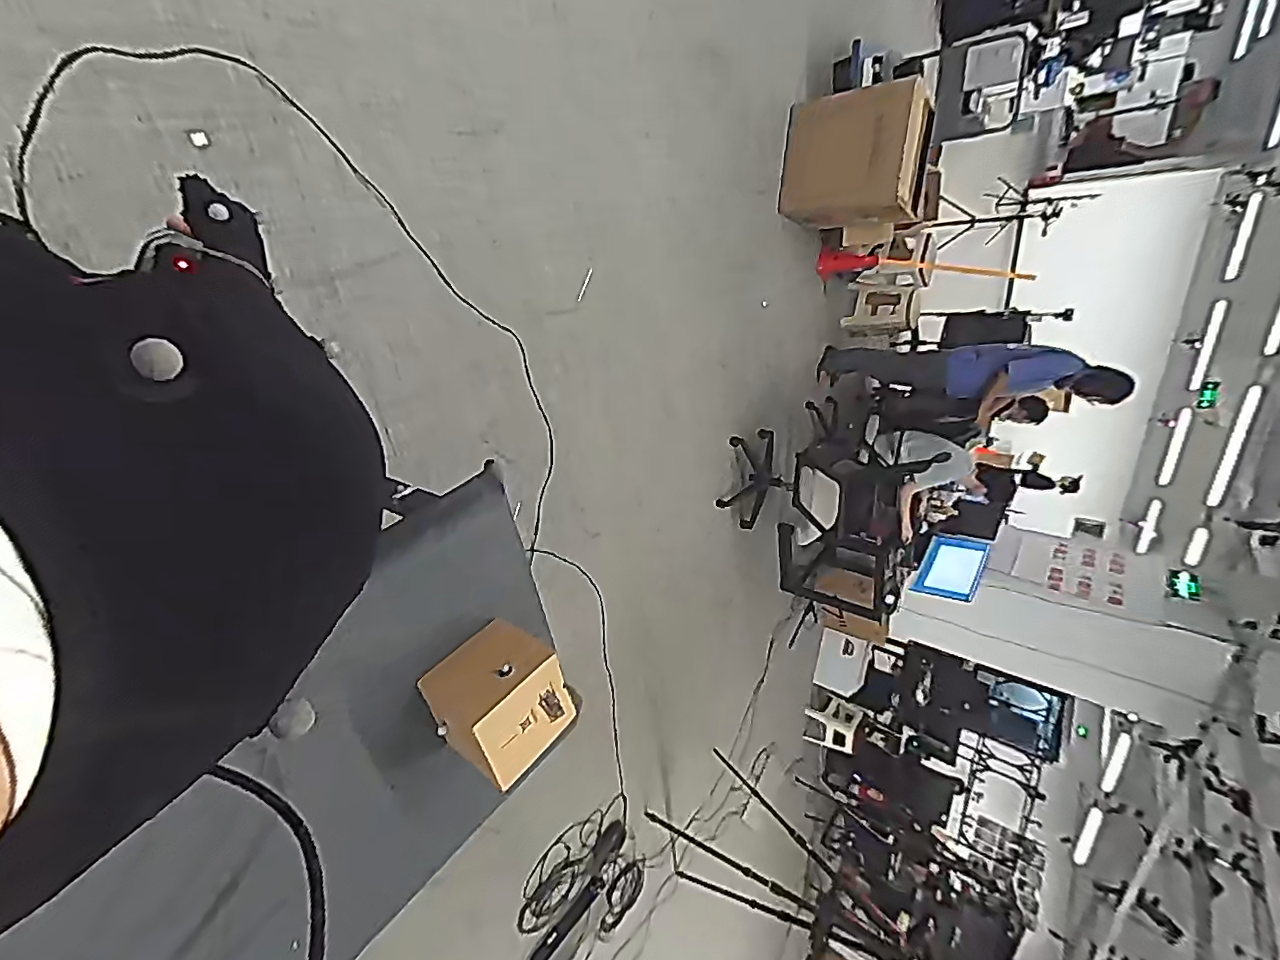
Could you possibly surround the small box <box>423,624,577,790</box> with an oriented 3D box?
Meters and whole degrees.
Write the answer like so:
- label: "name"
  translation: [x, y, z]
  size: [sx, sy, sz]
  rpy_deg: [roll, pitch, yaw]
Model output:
- label: "small box"
  translation: [-0.242, 0.385, 0.950]
  size: [0.179, 0.176, 0.168]
  rpy_deg: [-37, 127, -39]
